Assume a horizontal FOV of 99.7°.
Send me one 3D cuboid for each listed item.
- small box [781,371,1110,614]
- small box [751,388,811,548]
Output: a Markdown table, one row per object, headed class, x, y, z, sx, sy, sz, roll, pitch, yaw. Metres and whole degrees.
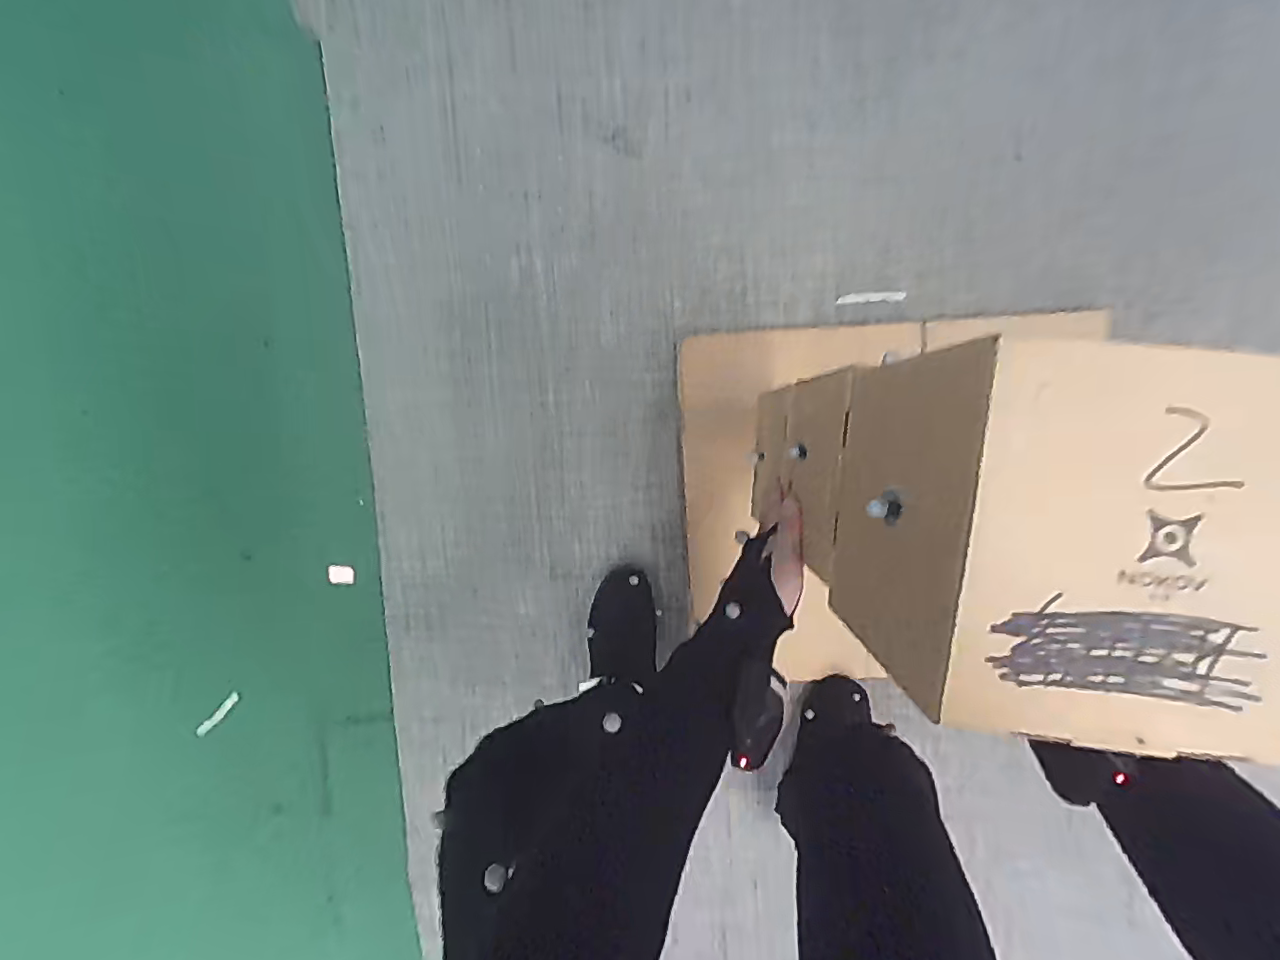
| class | x | y | z | sx | sy | sz | roll | pitch | yaw |
| --- | --- | --- | --- | --- | --- | --- | --- | --- | --- |
| small box | 0.233 | 0.001 | 0.461 | 0.179 | 0.176 | 0.168 | 4 | 97 | 2 |
| small box | 0.235 | -0.016 | 0.623 | 0.179 | 0.176 | 0.168 | 3 | 96 | 2 |
